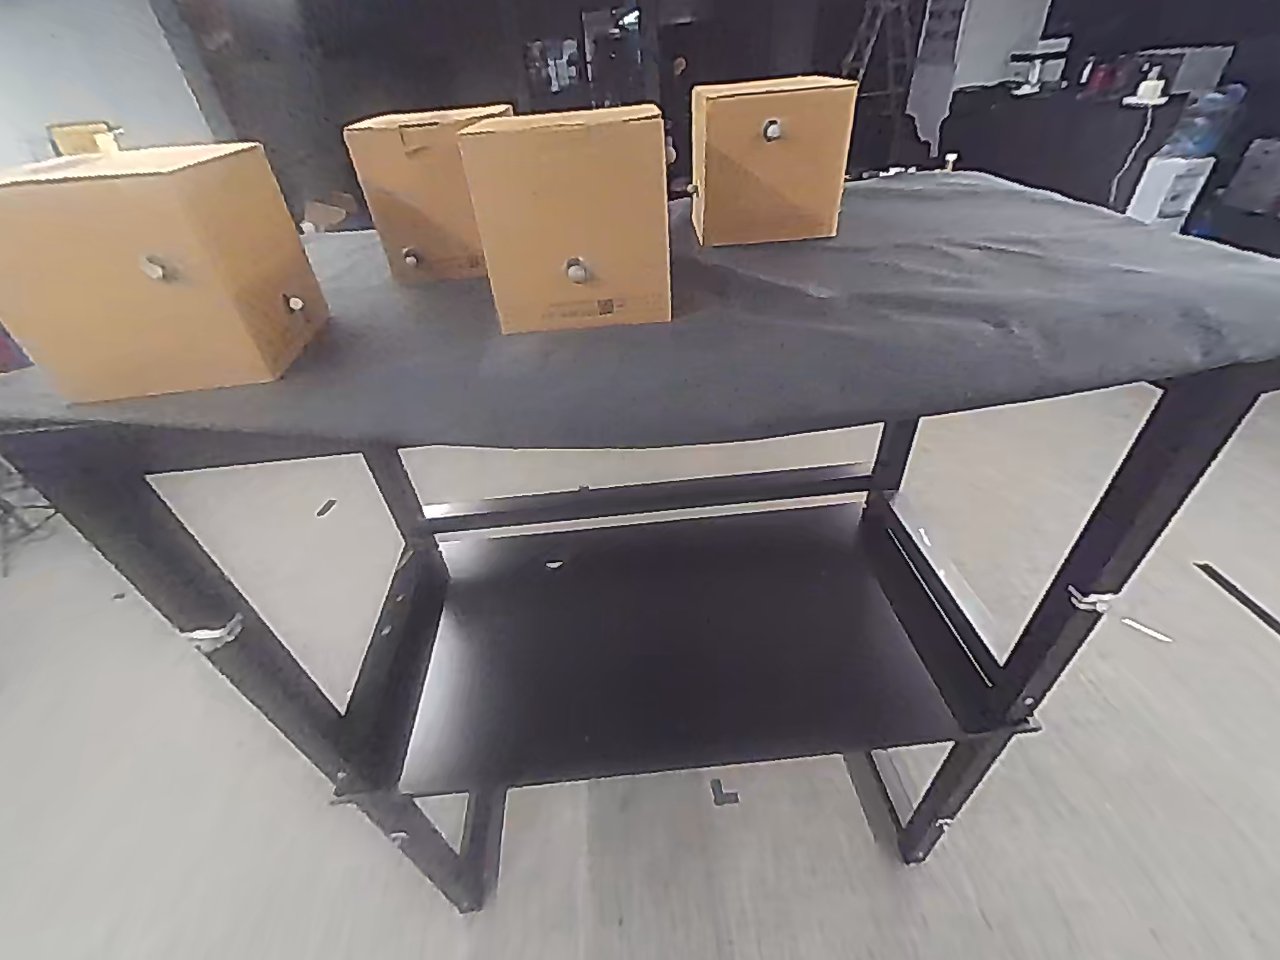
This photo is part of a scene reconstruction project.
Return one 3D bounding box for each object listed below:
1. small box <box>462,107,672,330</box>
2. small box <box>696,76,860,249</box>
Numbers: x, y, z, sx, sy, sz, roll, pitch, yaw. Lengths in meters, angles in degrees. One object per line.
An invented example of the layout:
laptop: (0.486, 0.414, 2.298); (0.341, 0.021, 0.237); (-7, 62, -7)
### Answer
small box: (-0.056, -0.262, 0.540); (0.168, 0.176, 0.179); (-4, 37, 2)
small box: (0.168, -0.422, 0.721); (0.179, 0.176, 0.168); (-4, 38, 3)
